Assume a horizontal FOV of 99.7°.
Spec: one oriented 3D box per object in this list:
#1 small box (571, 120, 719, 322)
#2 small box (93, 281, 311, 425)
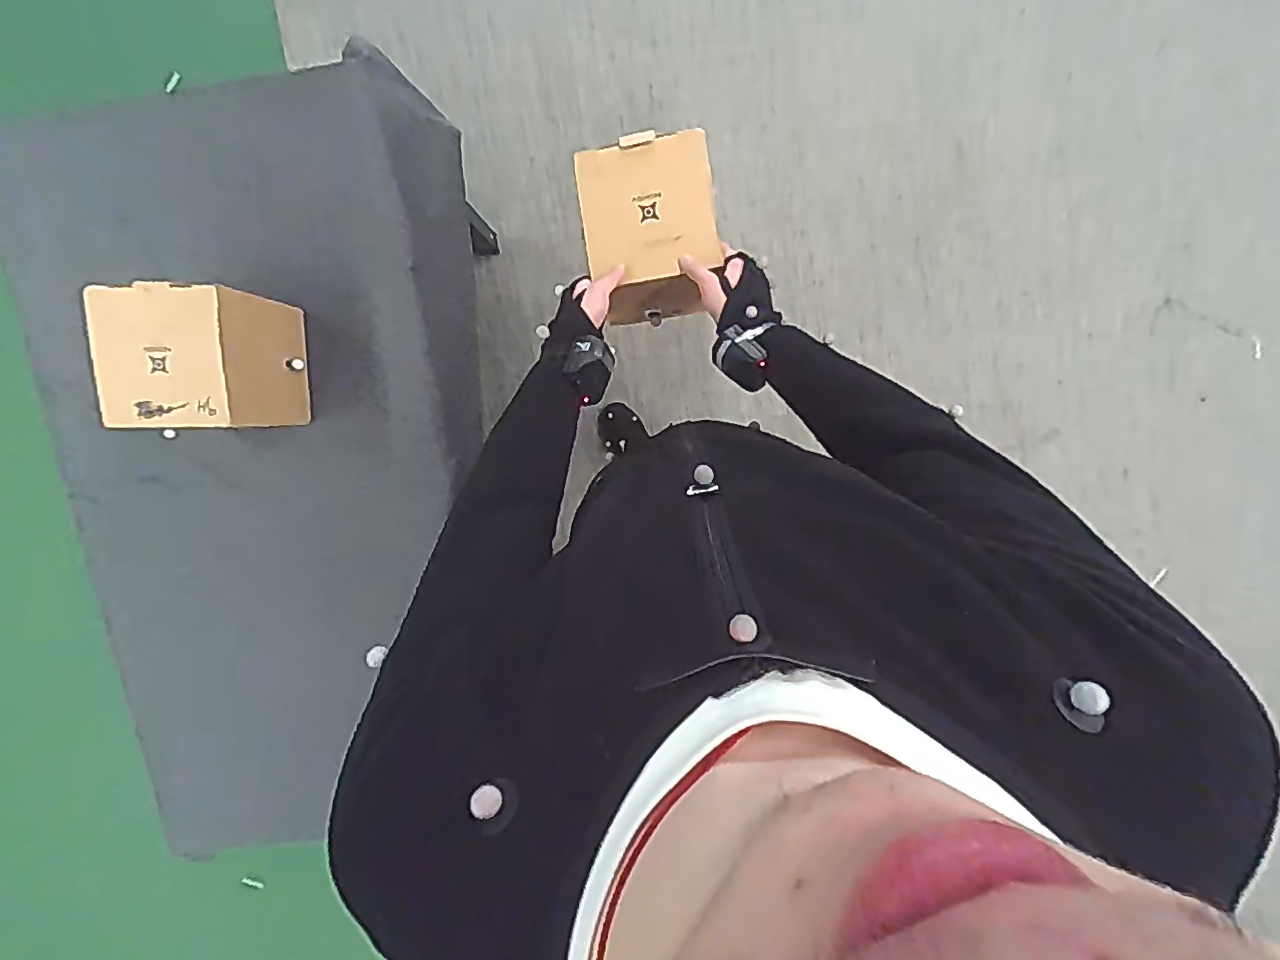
[{"bbox_3d":[0.011,-0.330,0.721,0.168,0.176,0.179,-6,89,6],"label":"small box"},{"bbox_3d":[-0.591,-0.166,0.753,0.168,0.176,0.179,0,97,1],"label":"small box"}]
